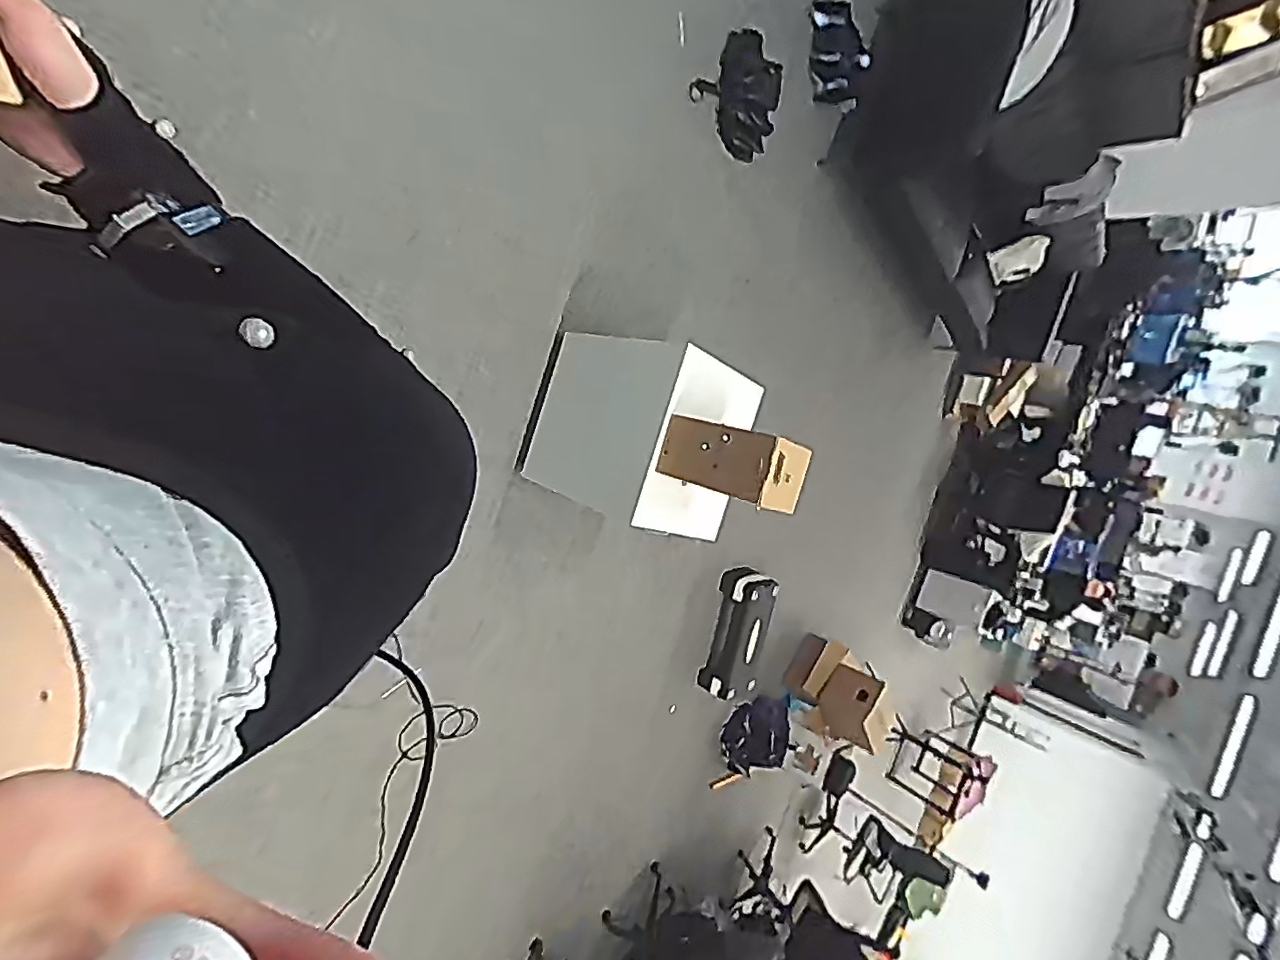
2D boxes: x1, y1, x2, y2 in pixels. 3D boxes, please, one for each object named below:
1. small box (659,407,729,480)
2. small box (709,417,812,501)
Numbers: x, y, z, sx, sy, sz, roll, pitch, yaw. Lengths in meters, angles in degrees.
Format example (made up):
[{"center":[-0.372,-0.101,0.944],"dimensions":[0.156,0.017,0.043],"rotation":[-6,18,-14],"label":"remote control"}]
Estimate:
[{"center":[0.179,-0.092,1.449],"dimensions":[0.179,0.176,0.168],"rotation":[9,96,-48],"label":"small box"},{"center":[0.295,-0.055,1.338],"dimensions":[0.179,0.176,0.168],"rotation":[10,96,-48],"label":"small box"}]
